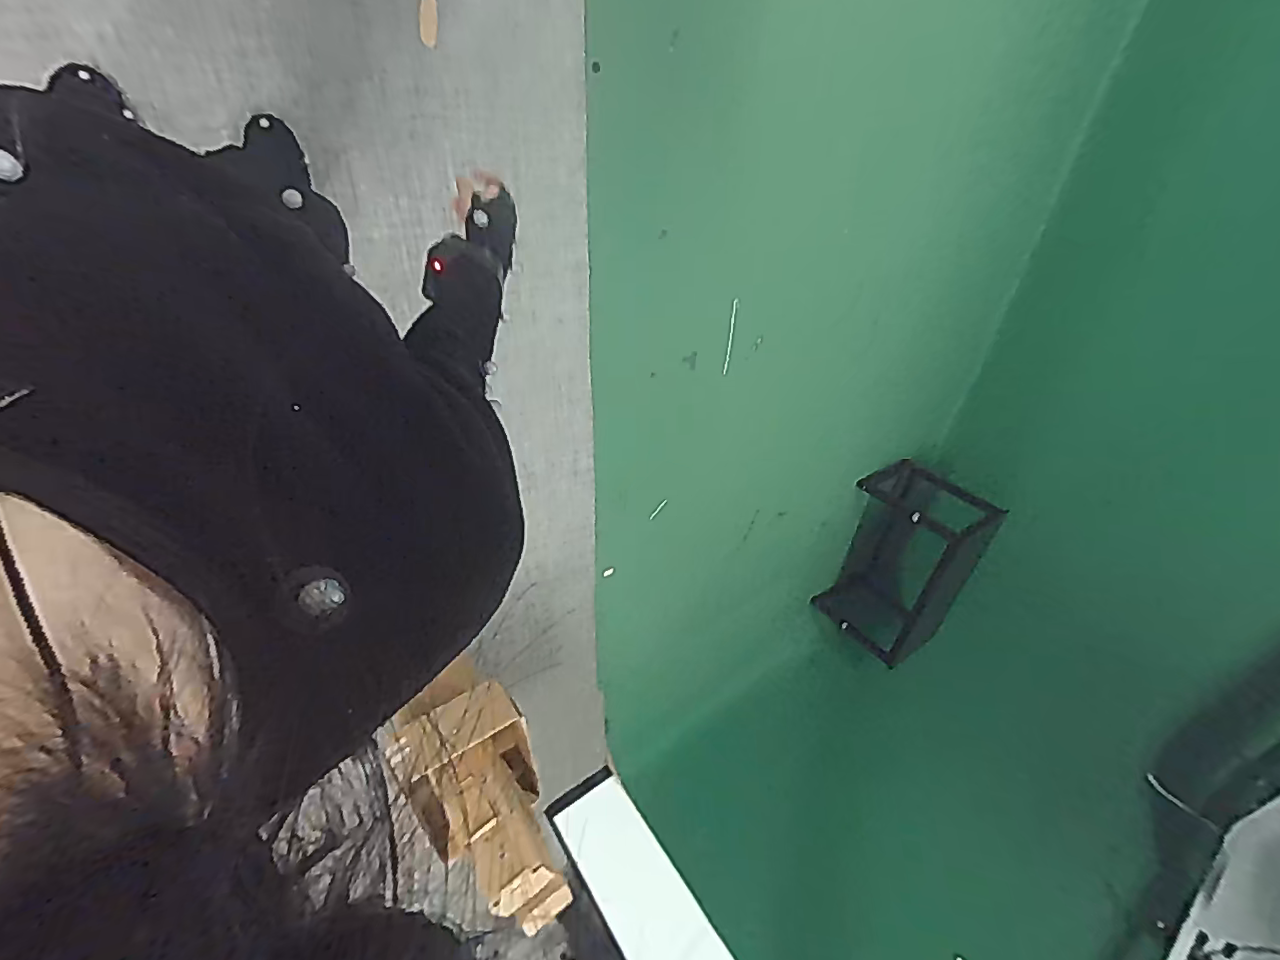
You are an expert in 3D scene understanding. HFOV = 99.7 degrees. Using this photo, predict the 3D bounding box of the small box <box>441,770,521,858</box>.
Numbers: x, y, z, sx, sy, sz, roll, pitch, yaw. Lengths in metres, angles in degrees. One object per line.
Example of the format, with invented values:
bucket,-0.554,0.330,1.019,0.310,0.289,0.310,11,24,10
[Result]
small box,-0.485,1.033,1.665,0.168,0.176,0.179,-33,138,-18

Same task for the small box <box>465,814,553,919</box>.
small box,-0.381,1.109,1.563,0.168,0.176,0.179,-31,136,-19

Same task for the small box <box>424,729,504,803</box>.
small box,-0.579,0.953,1.773,0.168,0.176,0.179,-33,138,-18

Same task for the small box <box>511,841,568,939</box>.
small box,-0.351,1.318,1.746,0.168,0.176,0.179,-26,134,-27

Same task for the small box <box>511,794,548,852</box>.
small box,-0.443,1.228,1.849,0.179,0.176,0.168,-28,135,-26
